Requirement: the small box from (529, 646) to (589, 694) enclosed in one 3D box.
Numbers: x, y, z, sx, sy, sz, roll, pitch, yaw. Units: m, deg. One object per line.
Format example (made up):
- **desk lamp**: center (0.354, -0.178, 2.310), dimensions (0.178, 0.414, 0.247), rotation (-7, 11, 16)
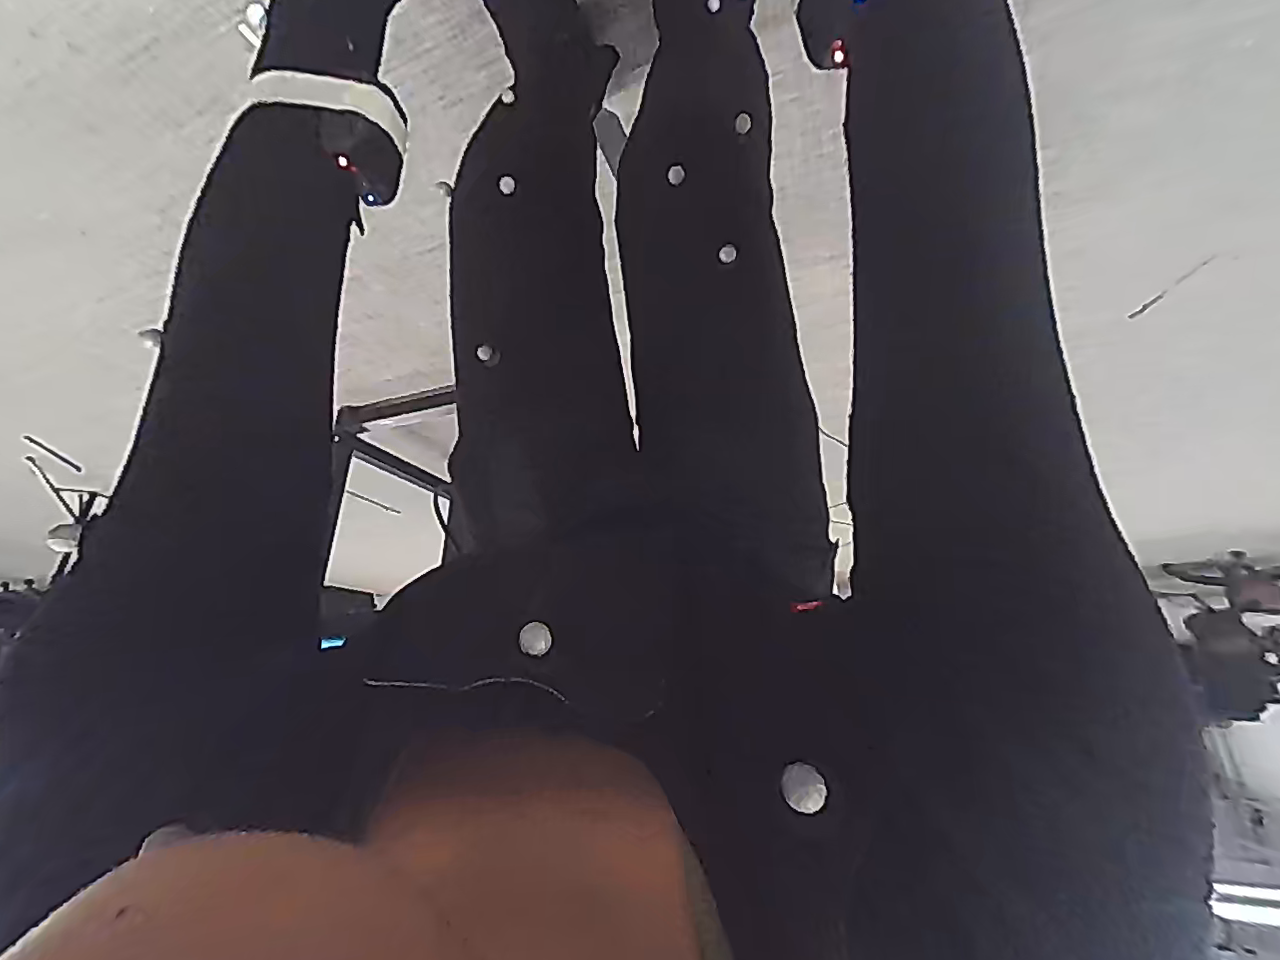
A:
- **small box**: center (-0.308, 0.729, 2.062), dimensions (0.179, 0.176, 0.168), rotation (-6, 158, 16)
